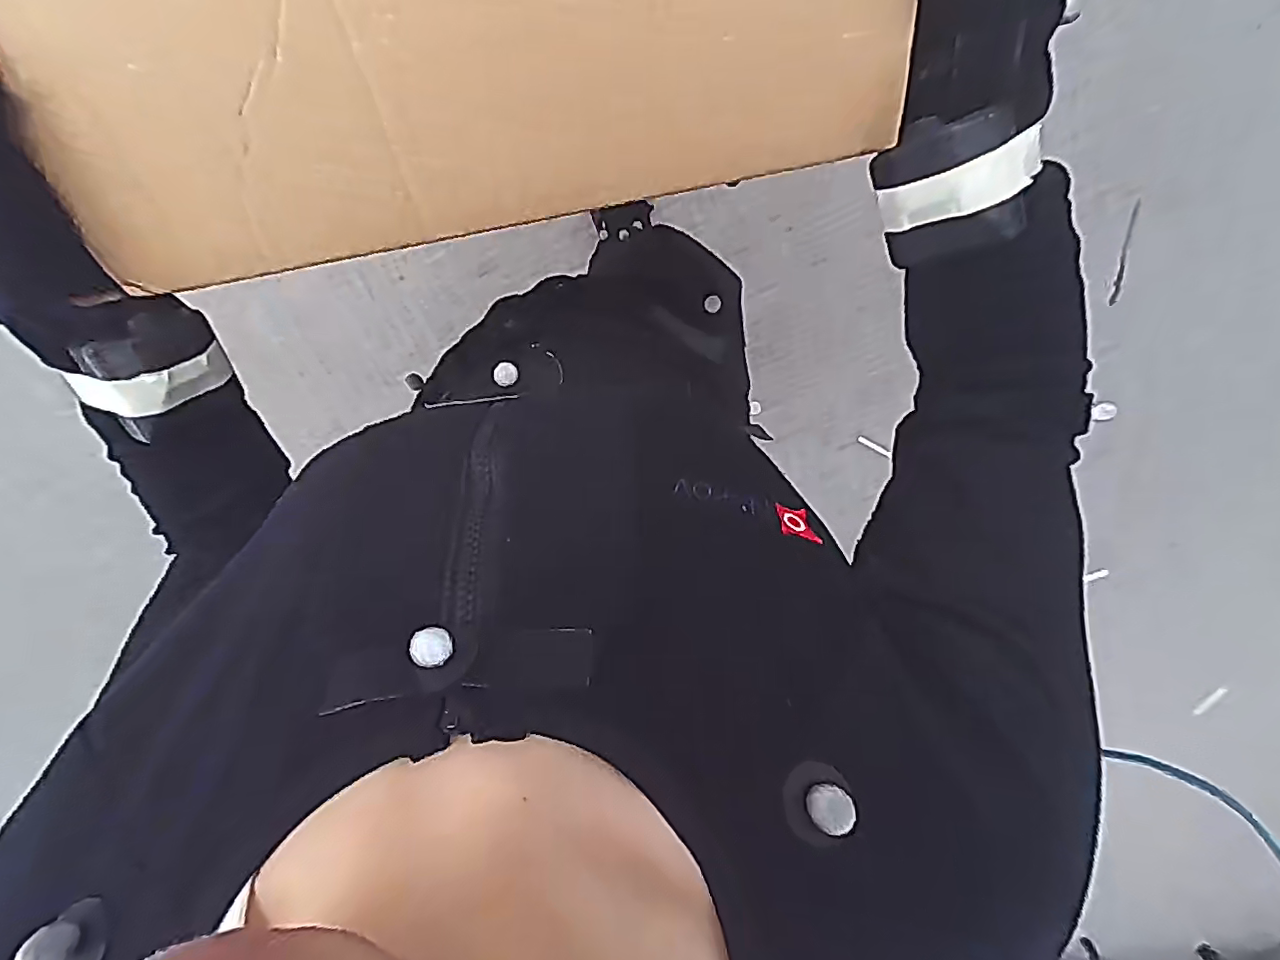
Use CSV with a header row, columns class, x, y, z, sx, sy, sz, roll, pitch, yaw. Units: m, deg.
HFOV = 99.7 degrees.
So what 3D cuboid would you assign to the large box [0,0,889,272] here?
class,x,y,z,sx,sy,sz,roll,pitch,yaw
large box,-0.111,-0.358,0.291,0.408,0.320,0.320,-10,131,3
